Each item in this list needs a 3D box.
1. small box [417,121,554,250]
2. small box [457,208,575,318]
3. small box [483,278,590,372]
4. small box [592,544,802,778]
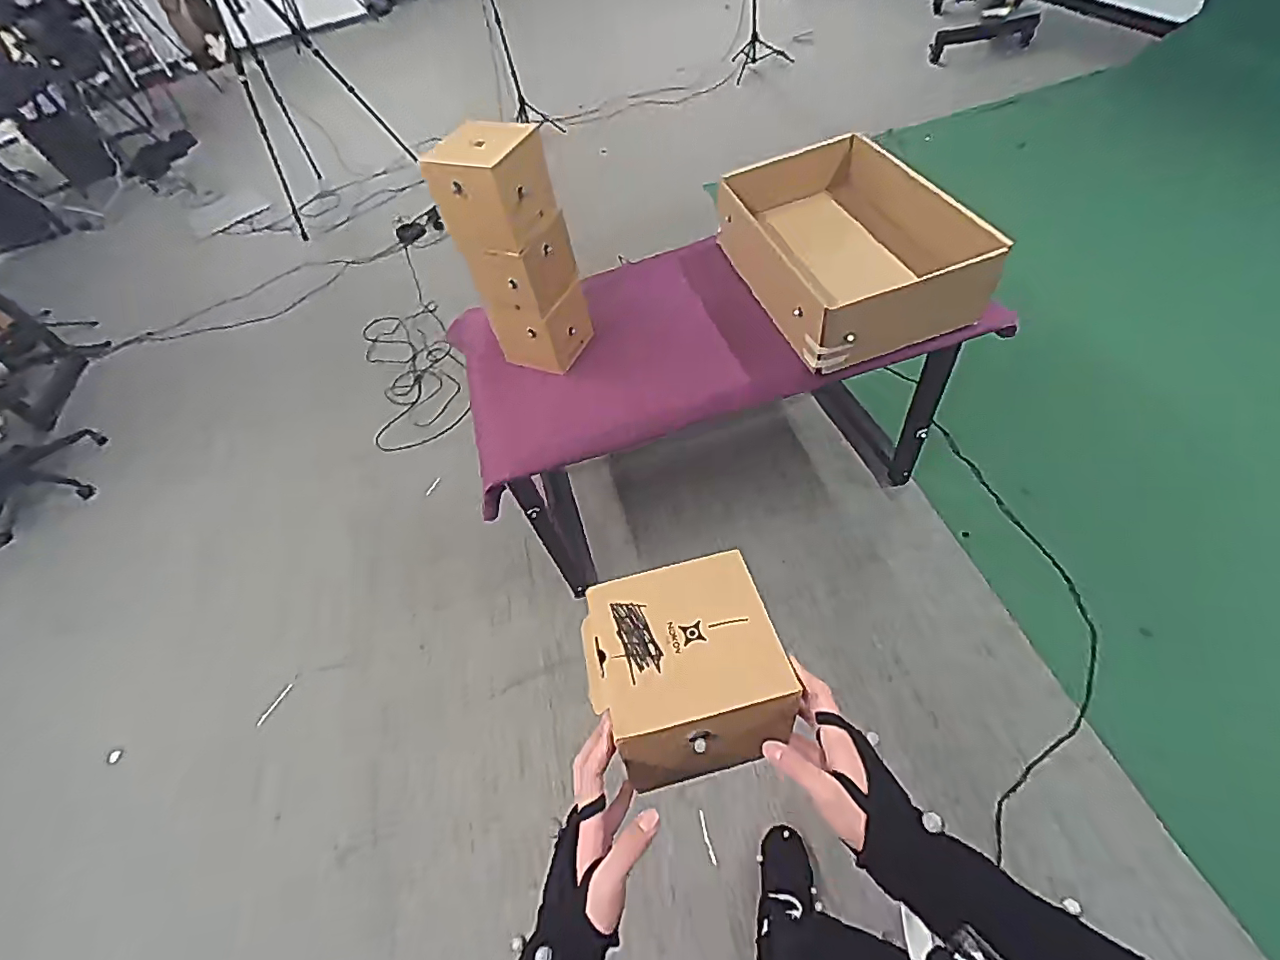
[{"bbox_3d":[-0.294,-0.580,1.075,0.179,0.176,0.168,16,60,20],"label":"small box"},{"bbox_3d":[-0.265,-0.487,1.204,0.168,0.176,0.179,18,60,20],"label":"small box"},{"bbox_3d":[-0.244,-0.388,1.332,0.179,0.176,0.168,17,59,21],"label":"small box"},{"bbox_3d":[0.056,0.201,0.592,0.179,0.176,0.168,-13,46,-5],"label":"small box"}]
